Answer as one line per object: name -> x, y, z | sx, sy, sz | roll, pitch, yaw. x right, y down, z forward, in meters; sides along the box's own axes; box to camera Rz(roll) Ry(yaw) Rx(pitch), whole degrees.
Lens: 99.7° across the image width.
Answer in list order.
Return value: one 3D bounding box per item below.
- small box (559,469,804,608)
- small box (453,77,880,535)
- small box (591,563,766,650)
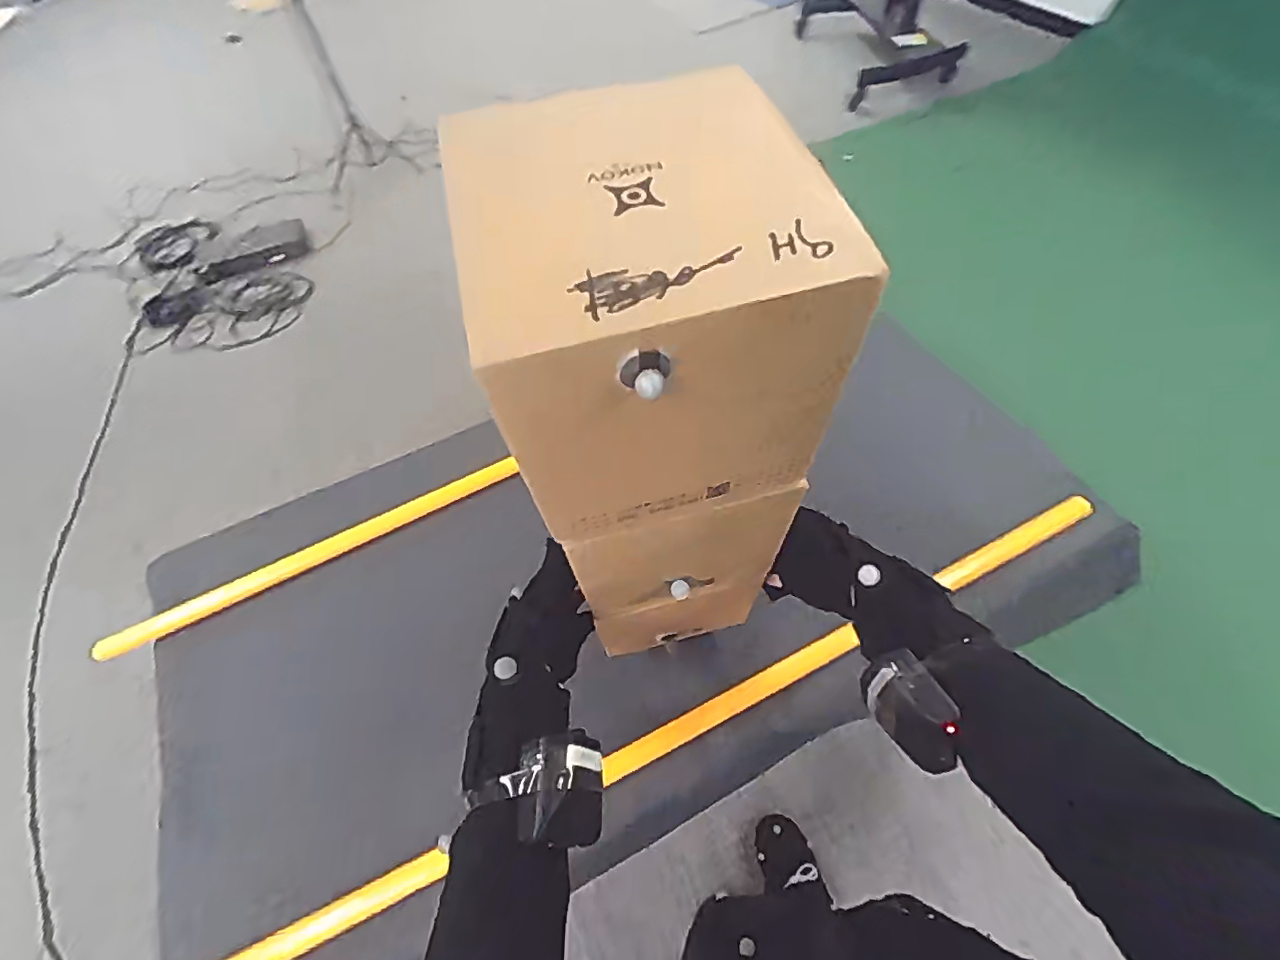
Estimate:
small box -> 0.015, -0.012, 0.460 | 0.168, 0.176, 0.179 | -13, 62, -4
small box -> 0.002, -0.093, 0.319 | 0.168, 0.176, 0.179 | -14, 60, -4
small box -> 0.022, 0.071, 0.603 | 0.168, 0.176, 0.179 | -14, 62, -4
